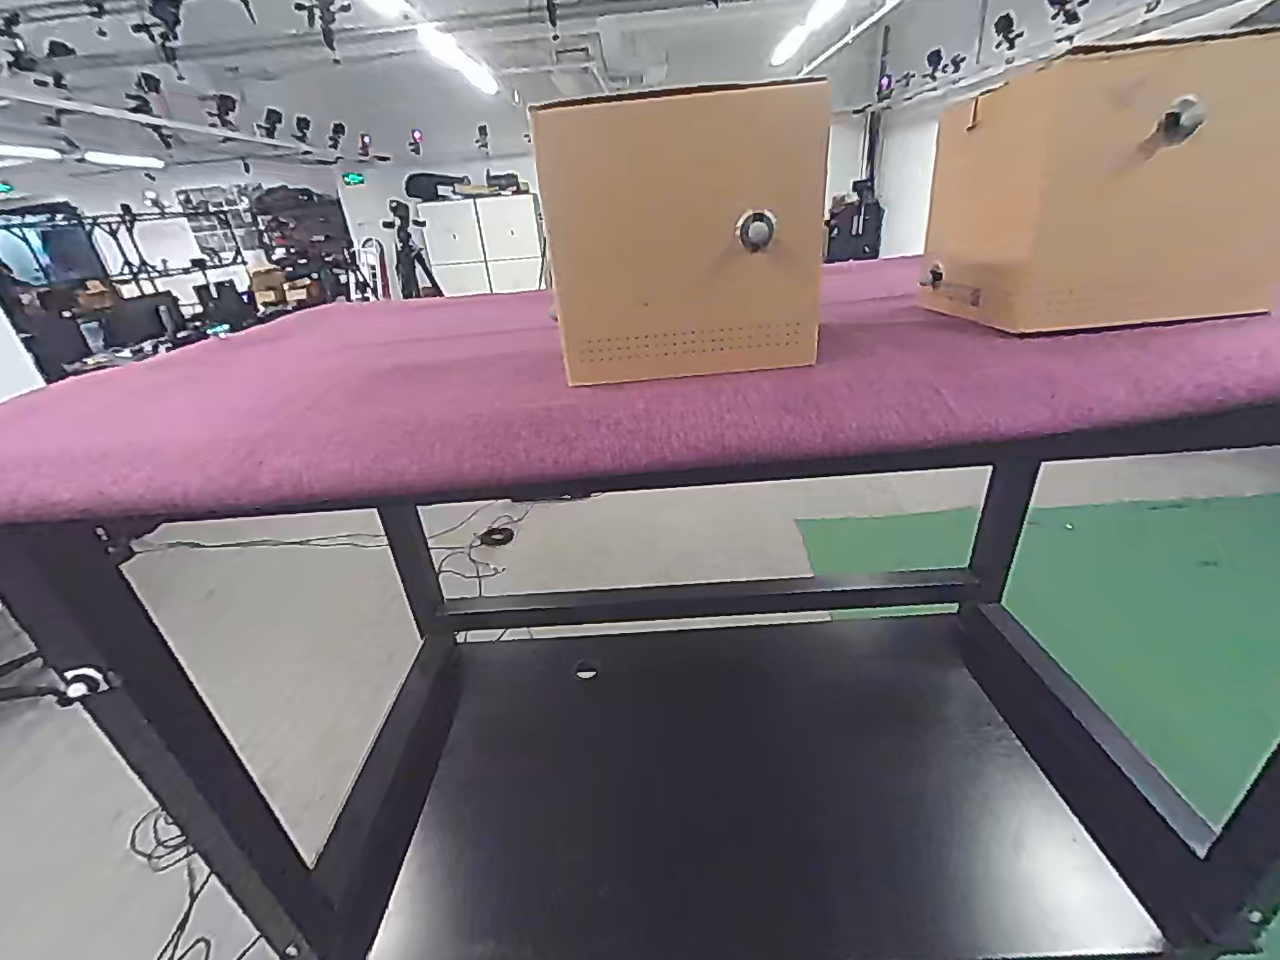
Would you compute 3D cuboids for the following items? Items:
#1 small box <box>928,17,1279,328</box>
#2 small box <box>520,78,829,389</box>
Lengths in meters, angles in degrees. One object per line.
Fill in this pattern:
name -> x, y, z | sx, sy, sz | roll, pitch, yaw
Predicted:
small box -> 0.345, -0.217, 0.417 | 0.179, 0.176, 0.168 | -4, 25, 3
small box -> 0.024, -0.177, 0.406 | 0.179, 0.176, 0.168 | -6, 27, 1
